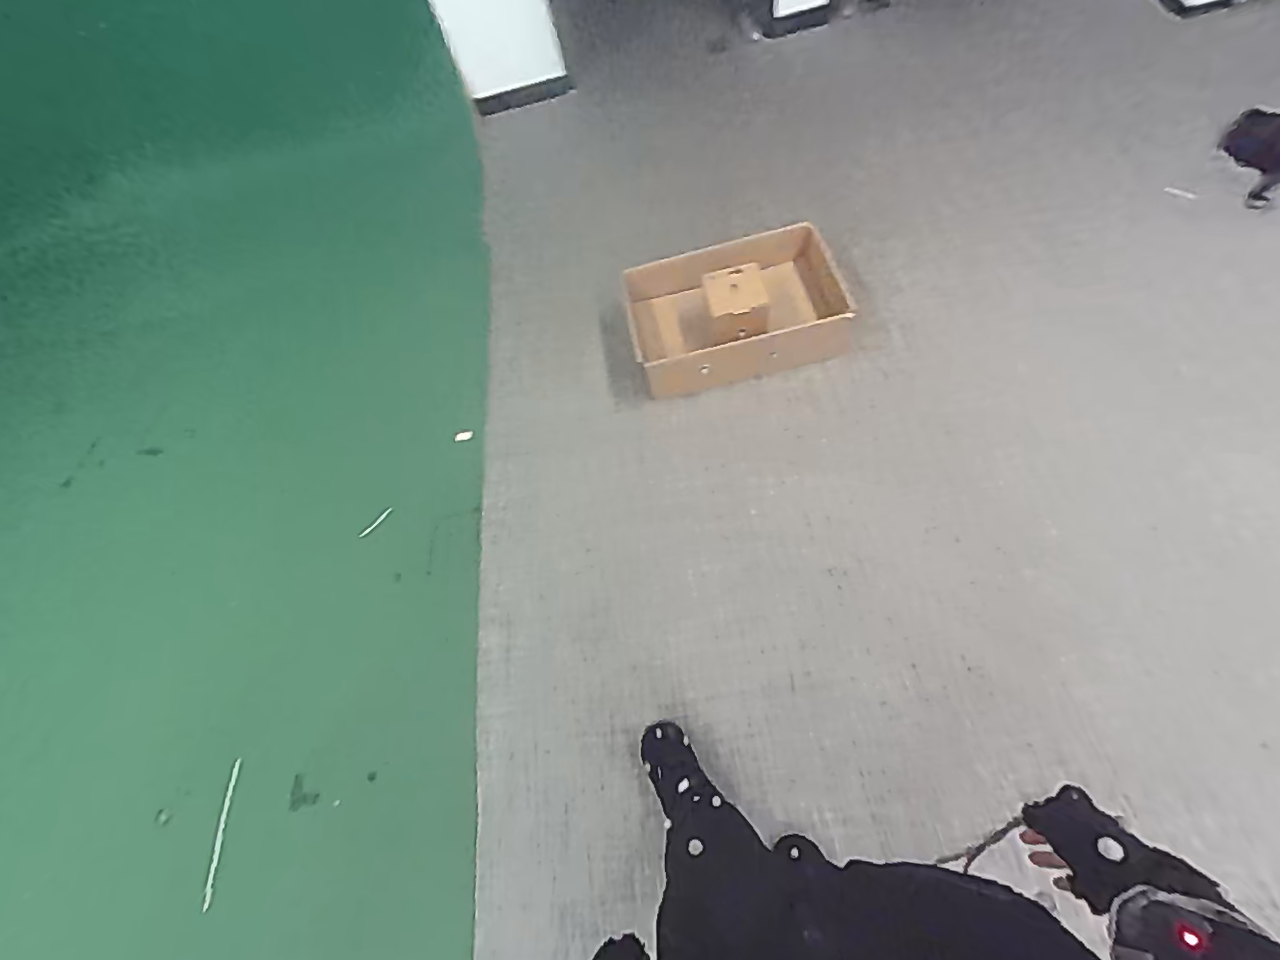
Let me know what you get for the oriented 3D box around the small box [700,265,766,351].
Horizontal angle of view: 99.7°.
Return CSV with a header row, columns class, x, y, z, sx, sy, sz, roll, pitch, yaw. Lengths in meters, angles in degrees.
class,x,y,z,sx,sy,sz,roll,pitch,yaw
small box,0.283,-0.508,1.632,0.168,0.176,0.179,-11,62,6
